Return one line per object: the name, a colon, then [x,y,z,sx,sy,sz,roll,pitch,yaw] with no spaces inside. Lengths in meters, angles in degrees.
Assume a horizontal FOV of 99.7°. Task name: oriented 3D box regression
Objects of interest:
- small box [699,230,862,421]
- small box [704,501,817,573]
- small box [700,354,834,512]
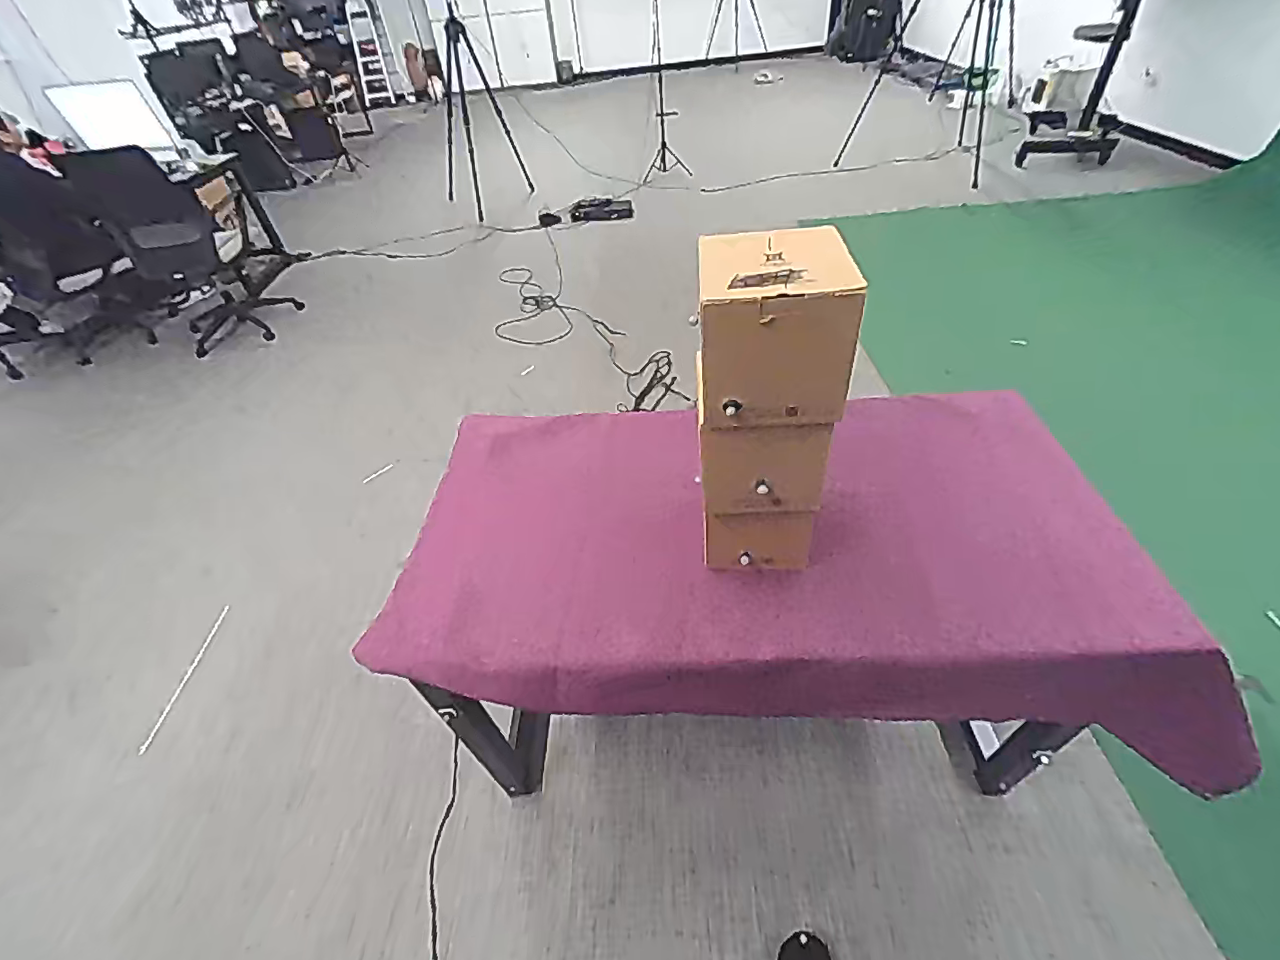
small box: [0.158,-0.183,0.662,0.168,0.176,0.179,-2,44,7]
small box: [0.191,0.034,0.907,0.168,0.176,0.179,-1,45,8]
small box: [0.170,-0.072,0.783,0.168,0.176,0.179,-2,44,7]
